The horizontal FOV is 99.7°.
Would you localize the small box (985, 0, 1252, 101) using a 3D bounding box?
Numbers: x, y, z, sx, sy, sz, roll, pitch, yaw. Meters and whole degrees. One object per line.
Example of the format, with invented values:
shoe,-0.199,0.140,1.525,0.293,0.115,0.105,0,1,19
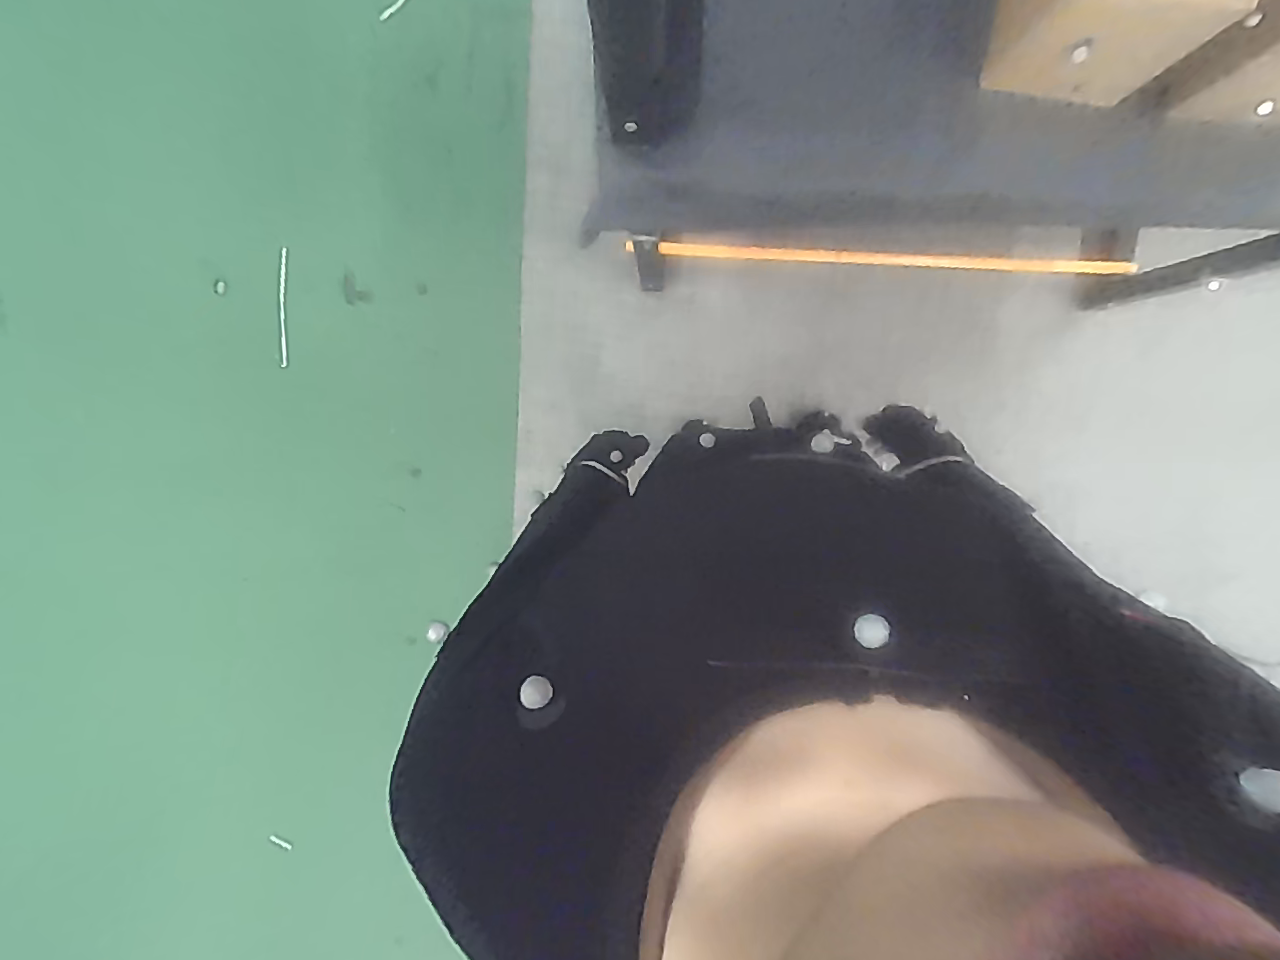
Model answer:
small box,0.506,-0.545,0.572,0.168,0.176,0.179,10,97,2
